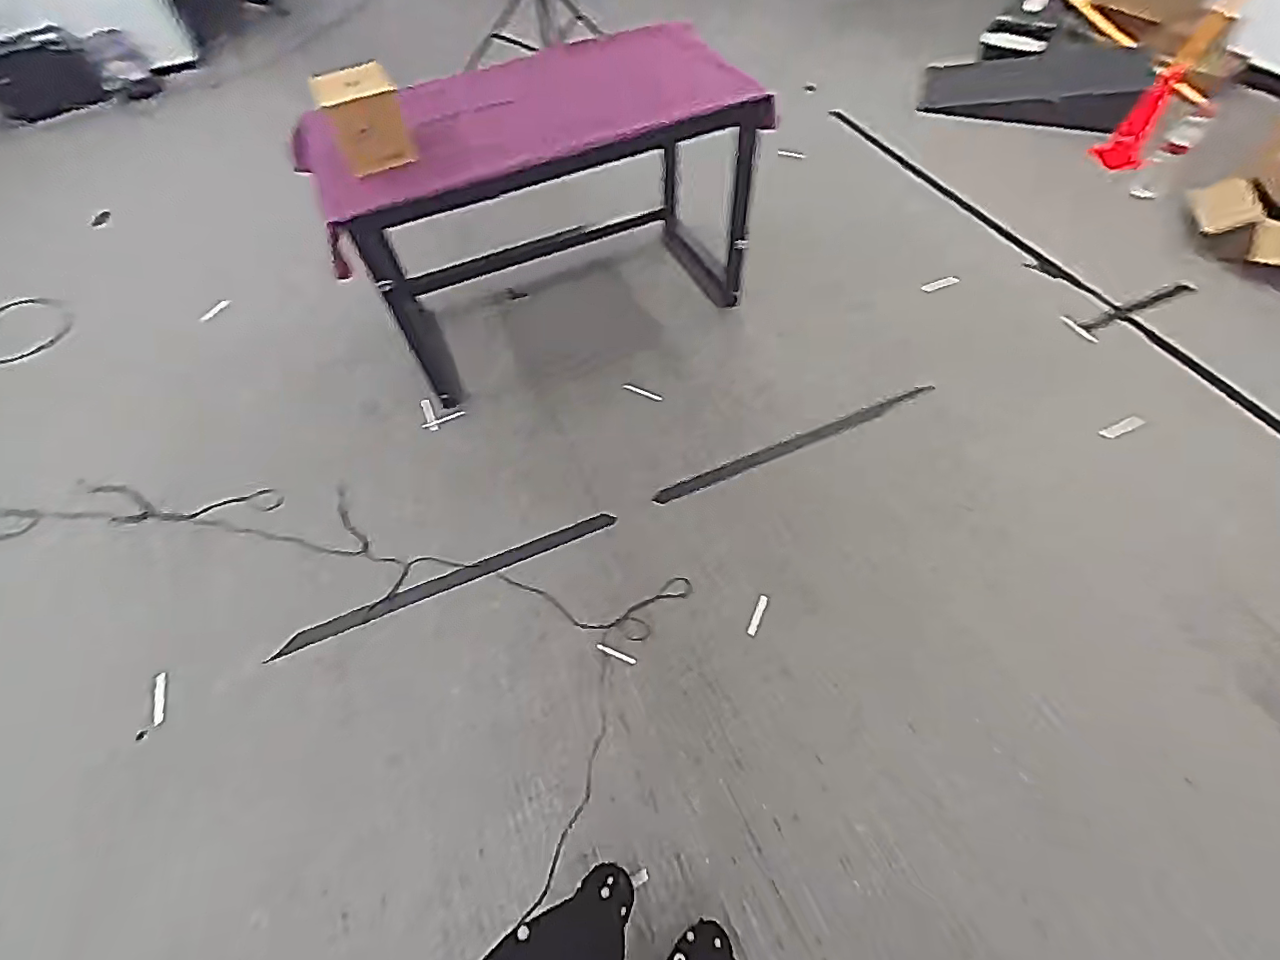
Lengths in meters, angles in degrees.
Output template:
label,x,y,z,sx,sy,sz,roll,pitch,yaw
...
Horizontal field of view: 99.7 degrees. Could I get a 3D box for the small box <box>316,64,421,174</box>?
label,x,y,z,sx,sy,sz,roll,pitch,yaw
small box,-0.677,-0.901,1.363,0.168,0.176,0.179,-25,59,-12
